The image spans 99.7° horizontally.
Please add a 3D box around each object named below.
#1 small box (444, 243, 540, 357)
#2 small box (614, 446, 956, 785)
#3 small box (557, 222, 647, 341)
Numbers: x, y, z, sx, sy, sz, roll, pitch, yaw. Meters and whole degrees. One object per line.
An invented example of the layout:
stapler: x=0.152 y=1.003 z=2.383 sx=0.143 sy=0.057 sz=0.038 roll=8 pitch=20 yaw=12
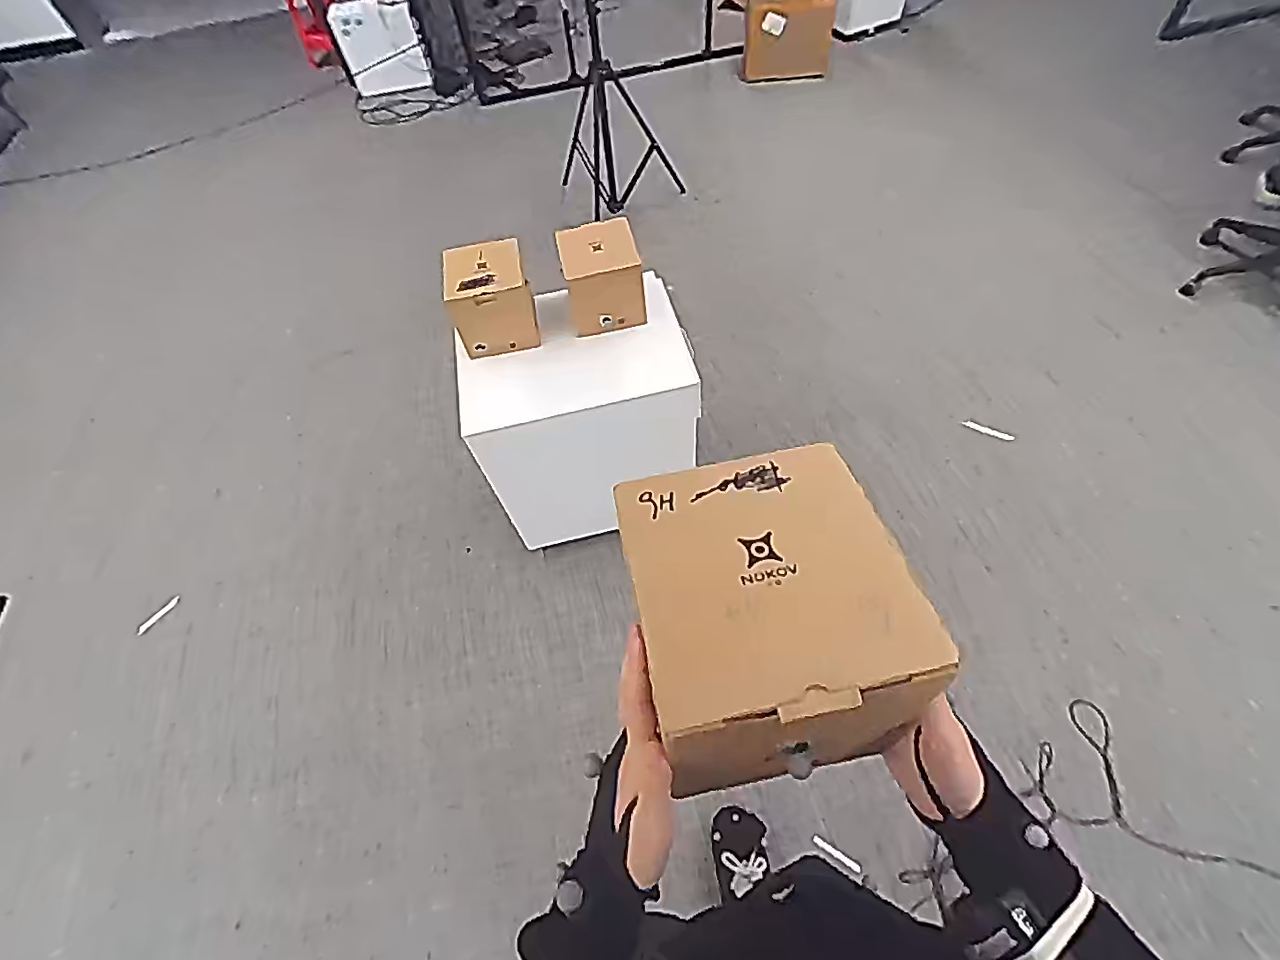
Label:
small box: x=-0.328 y=-0.396 z=1.215 sx=0.168 sy=0.176 sz=0.179 roll=-12 pitch=57 yaw=-3
small box: x=0.082 y=0.106 z=0.397 sx=0.168 sy=0.176 sz=0.179 roll=-11 pitch=50 yaw=-4
small box: x=-0.084 y=-0.447 z=1.230 sx=0.168 sy=0.176 sz=0.179 roll=-14 pitch=59 yaw=-2
